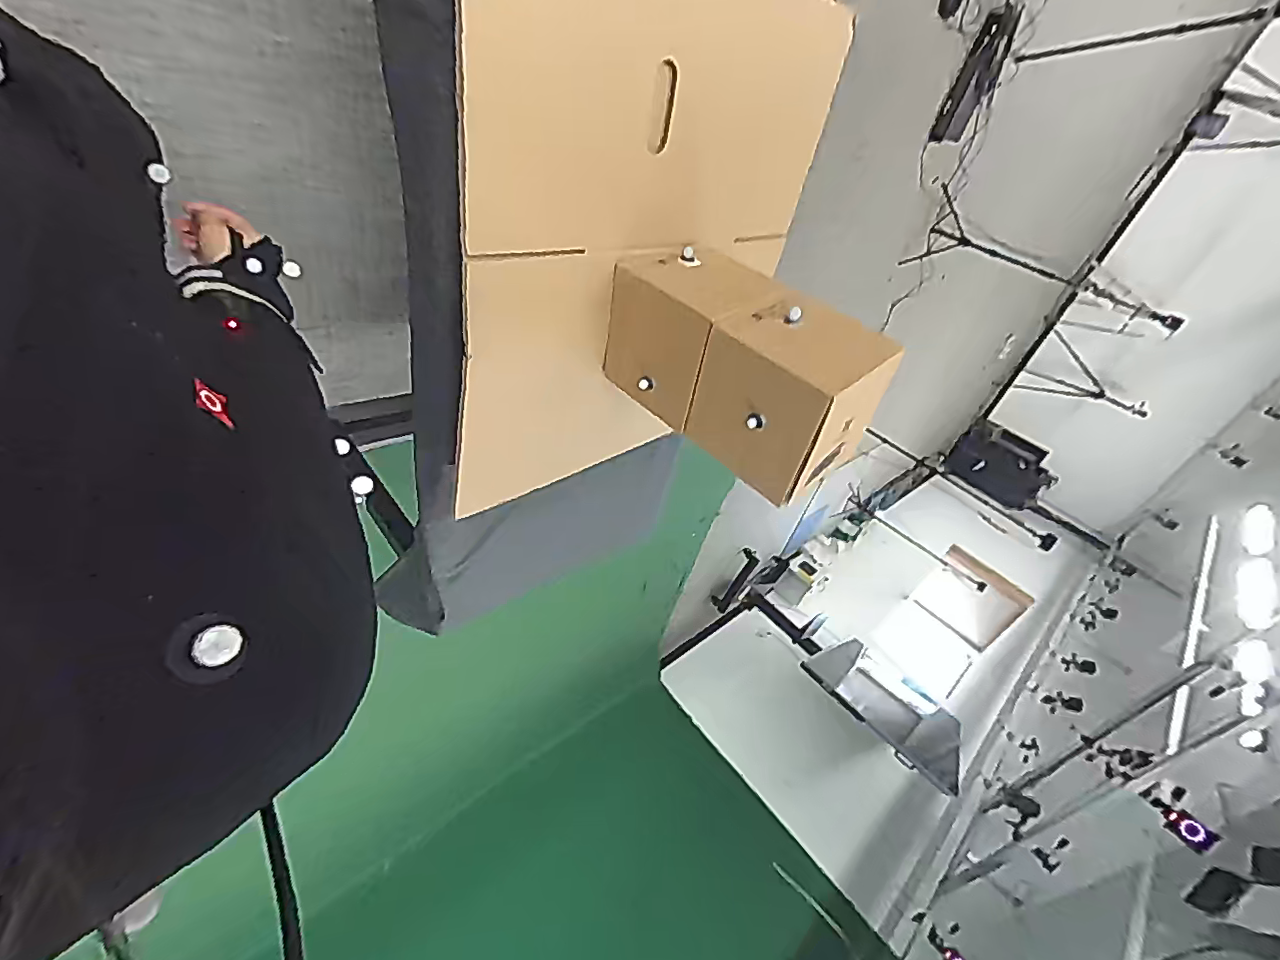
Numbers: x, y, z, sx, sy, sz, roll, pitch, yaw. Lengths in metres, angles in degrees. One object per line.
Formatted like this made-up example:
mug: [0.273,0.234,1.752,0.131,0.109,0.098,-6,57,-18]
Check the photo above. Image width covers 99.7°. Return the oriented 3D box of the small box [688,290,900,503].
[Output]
small box: [0.181,-0.110,0.683,0.168,0.176,0.179,-32,148,-33]

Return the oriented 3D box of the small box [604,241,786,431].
small box: [0.067,-0.205,0.754,0.168,0.176,0.179,-31,147,-34]
